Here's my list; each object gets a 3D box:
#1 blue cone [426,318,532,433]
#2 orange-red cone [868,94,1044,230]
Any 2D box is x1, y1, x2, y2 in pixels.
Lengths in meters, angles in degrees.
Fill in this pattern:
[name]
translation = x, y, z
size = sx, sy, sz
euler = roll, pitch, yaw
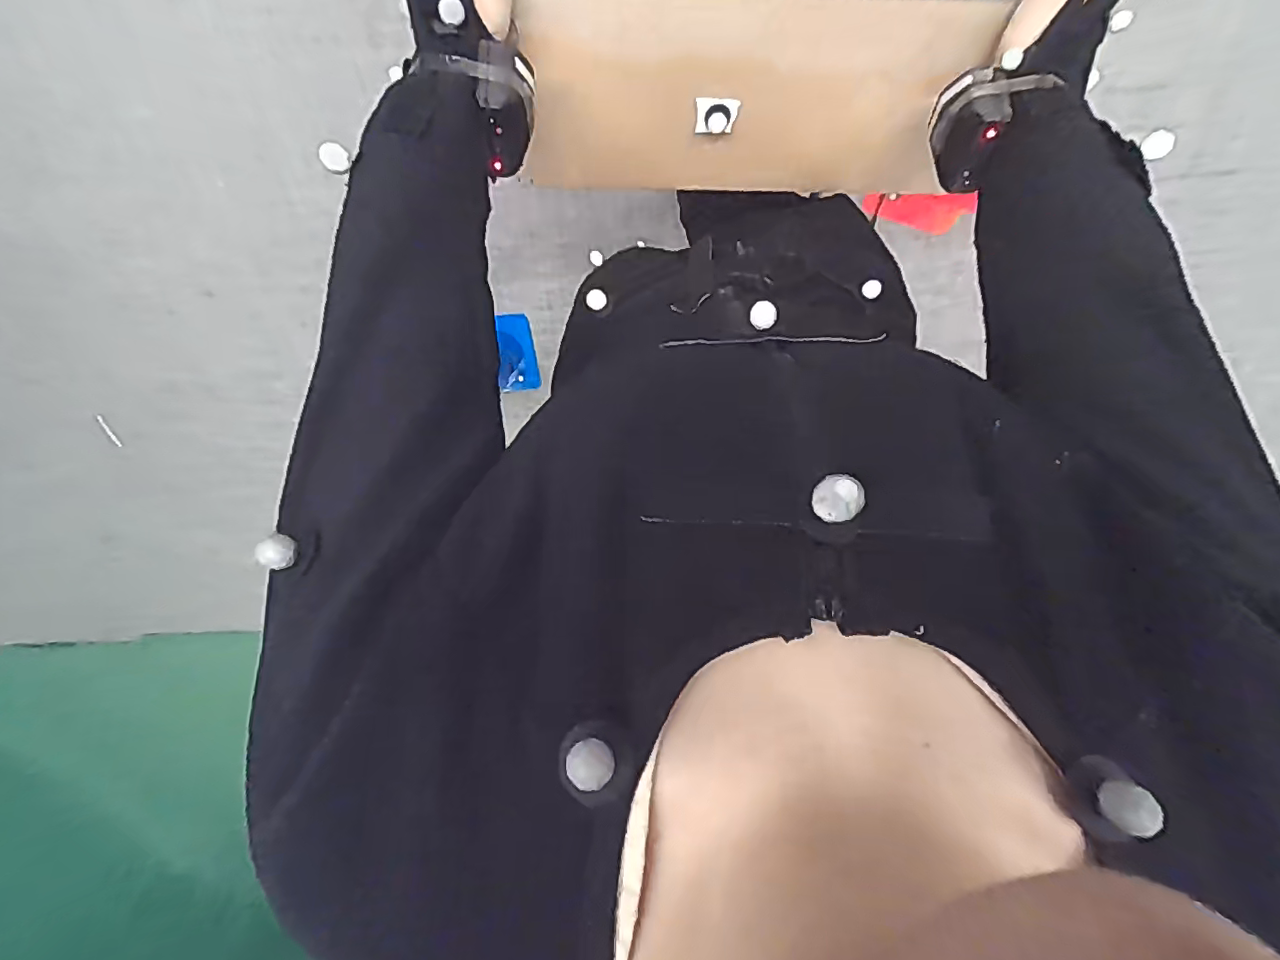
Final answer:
[blue cone]
translation = -0.377, -0.211, 1.200
size = 0.192, 0.380, 0.193
euler = -1, 125, 5
[orange-red cone]
translation = 0.565, -0.508, 0.910
size = 0.199, 0.360, 0.198
euler = 14, 126, -8
